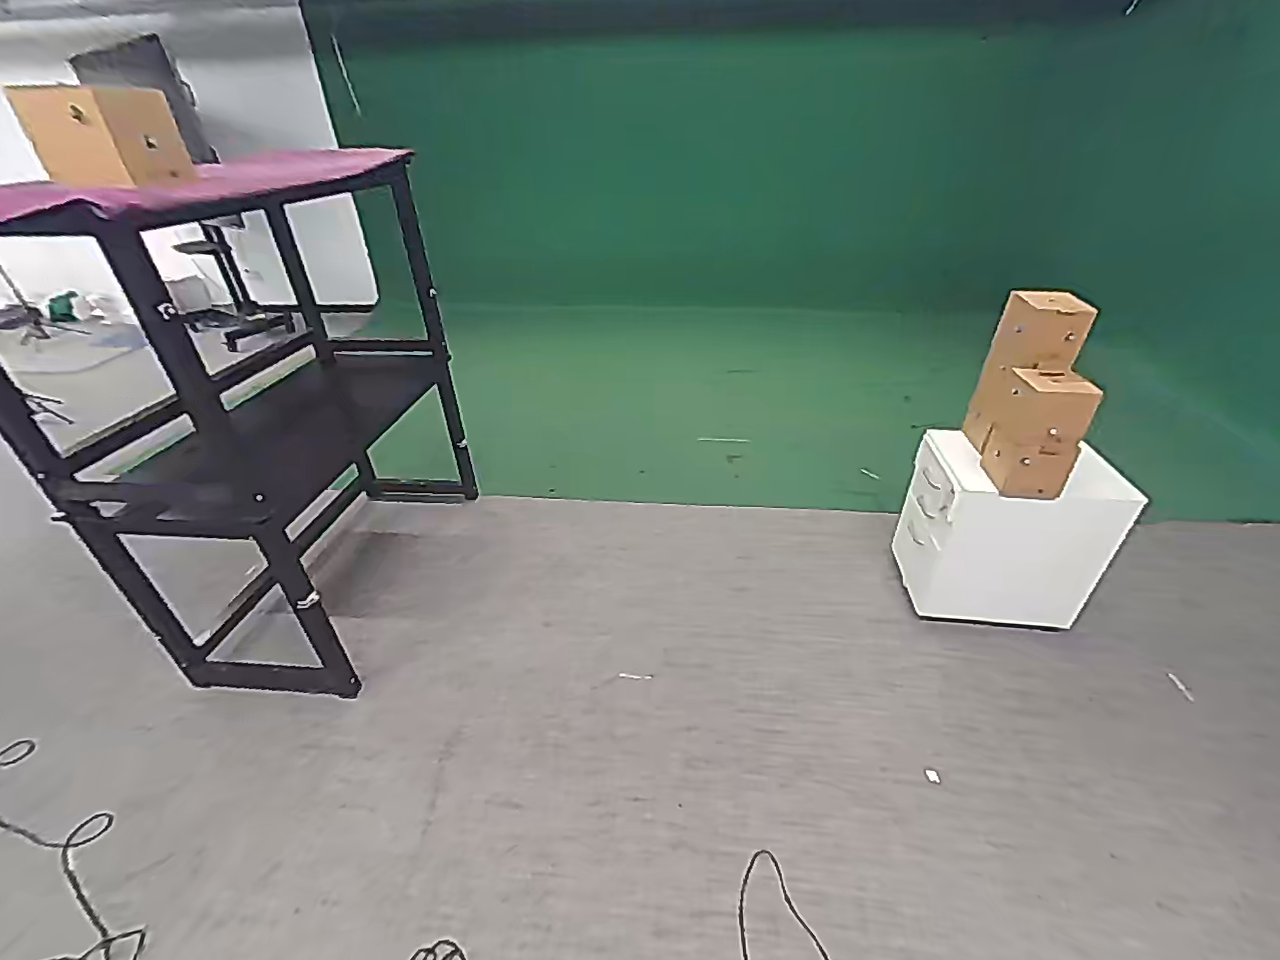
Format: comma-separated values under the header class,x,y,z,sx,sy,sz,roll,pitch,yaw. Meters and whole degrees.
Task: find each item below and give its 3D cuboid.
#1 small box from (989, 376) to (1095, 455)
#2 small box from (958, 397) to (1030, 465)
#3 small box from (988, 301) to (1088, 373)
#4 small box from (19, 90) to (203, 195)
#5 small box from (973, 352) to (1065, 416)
class,x,y,z,sx,sy,sz,roll,pitch,yaw
small box,1.156,-0.189,1.574,0.168,0.176,0.179,4,32,7
small box,1.224,-0.170,1.849,0.168,0.176,0.179,3,35,6
small box,1.216,-0.441,1.666,0.168,0.176,0.179,4,35,5
small box,-1.052,-0.681,1.097,0.179,0.176,0.168,2,32,4
small box,1.219,-0.307,1.758,0.168,0.176,0.179,4,36,7
